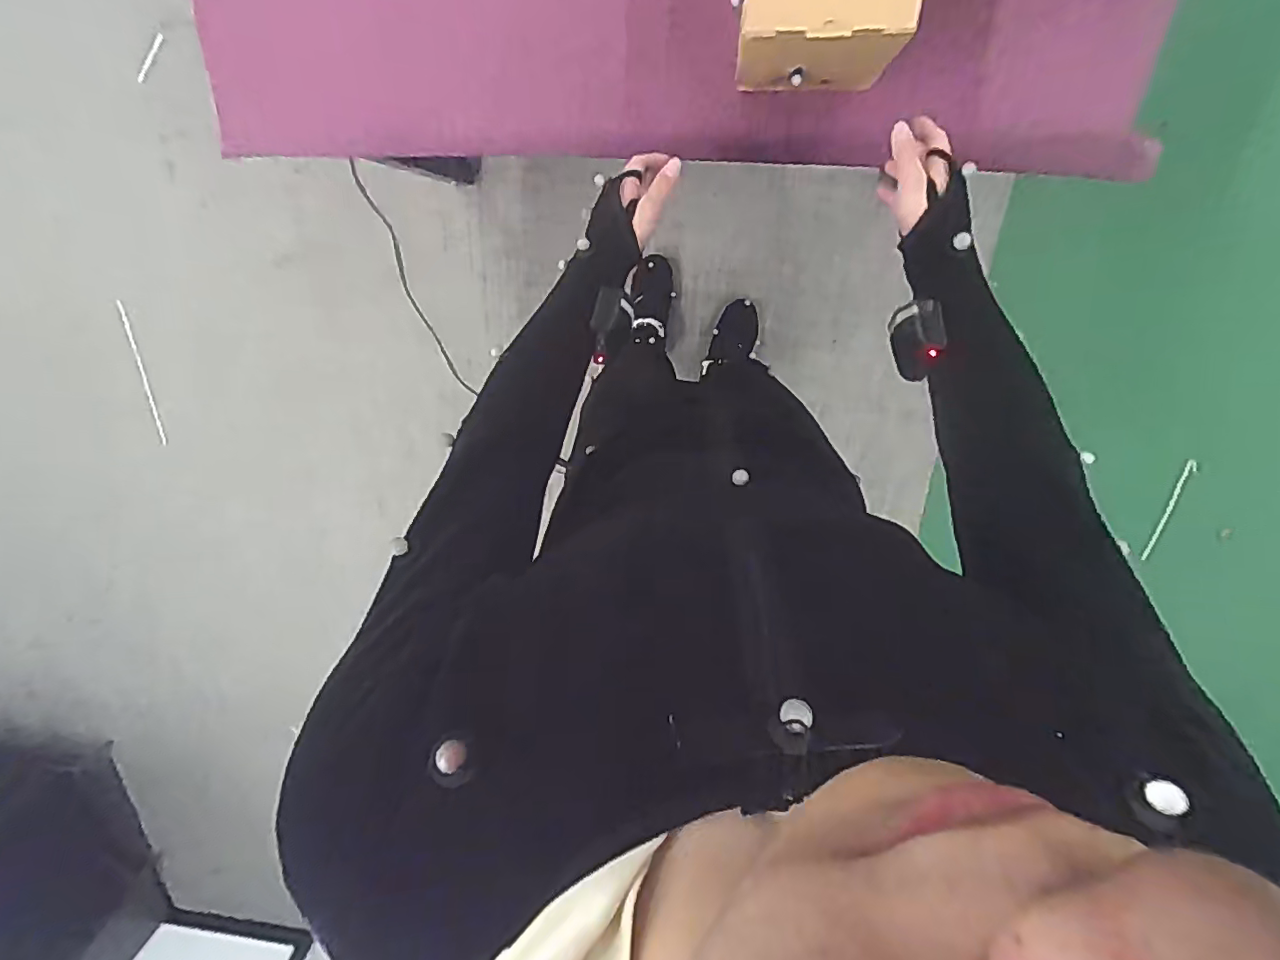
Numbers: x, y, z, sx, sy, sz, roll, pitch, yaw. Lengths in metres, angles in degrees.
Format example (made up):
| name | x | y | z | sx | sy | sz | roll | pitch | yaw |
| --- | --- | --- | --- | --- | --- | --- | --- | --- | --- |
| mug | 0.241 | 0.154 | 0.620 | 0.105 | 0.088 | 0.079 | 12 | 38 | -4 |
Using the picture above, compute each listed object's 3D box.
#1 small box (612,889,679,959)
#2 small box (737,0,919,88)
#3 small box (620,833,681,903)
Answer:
| name | x | y | z | sx | sy | sz | roll | pitch | yaw |
| --- | --- | --- | --- | --- | --- | --- | --- | --- | --- |
| small box | 0.014 | 1.277 | 1.486 | 0.168 | 0.176 | 0.179 | 9 | 112 | 2 |
| small box | 0.195 | -0.547 | 0.574 | 0.168 | 0.176 | 0.179 | 3 | 112 | 6 |
| small box | 0.032 | 1.216 | 1.637 | 0.168 | 0.176 | 0.179 | 6 | 113 | 4 |
